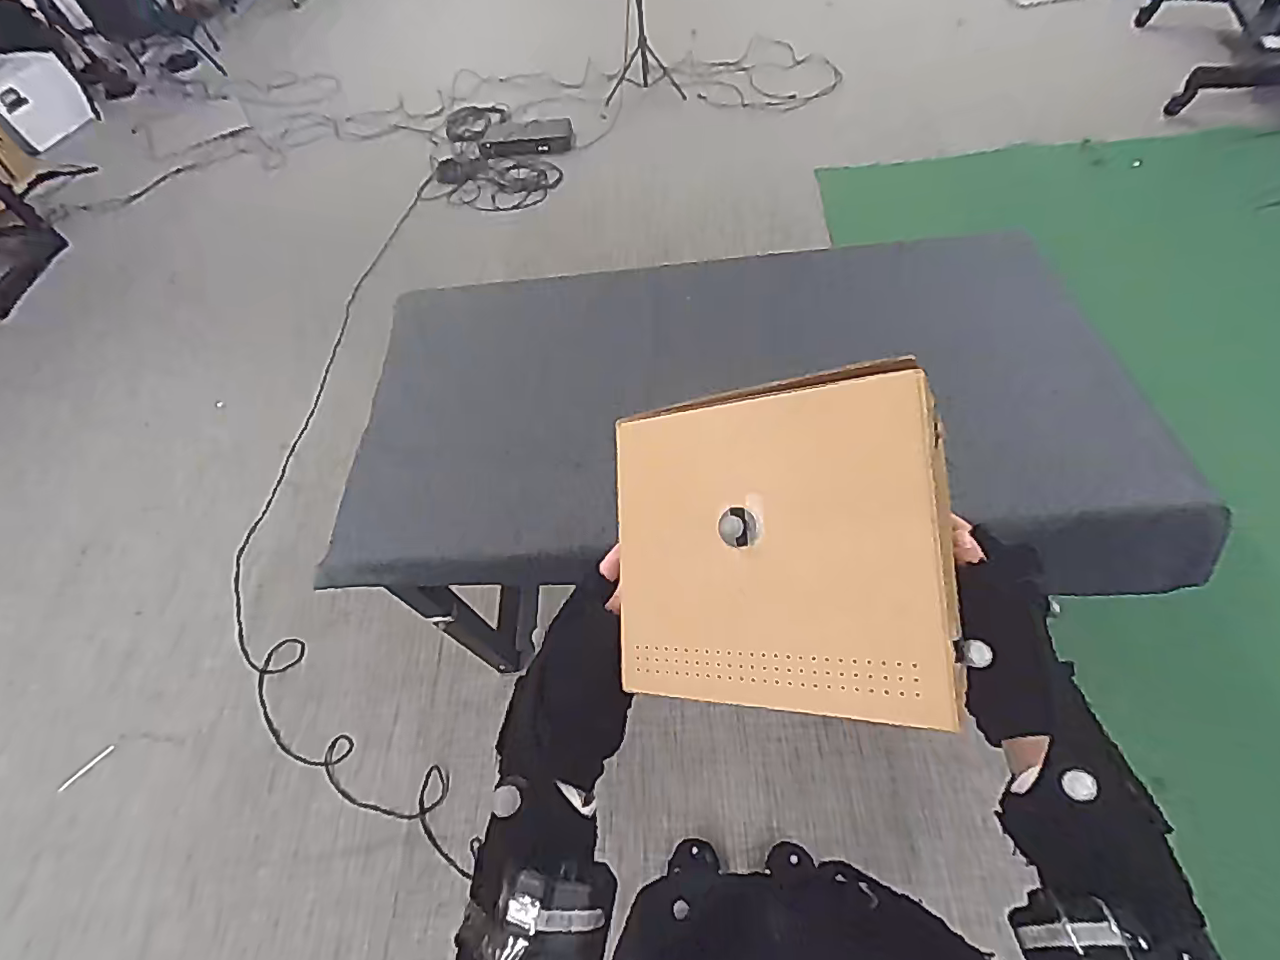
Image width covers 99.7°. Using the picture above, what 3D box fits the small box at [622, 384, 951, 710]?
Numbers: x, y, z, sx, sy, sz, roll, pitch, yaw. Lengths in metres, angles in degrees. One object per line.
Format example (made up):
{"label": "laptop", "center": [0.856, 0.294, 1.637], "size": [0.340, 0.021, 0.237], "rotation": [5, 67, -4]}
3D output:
{"label": "small box", "center": [0.105, 0.048, 0.372], "size": [0.179, 0.168, 0.176], "rotation": [-7, 80, 32]}
